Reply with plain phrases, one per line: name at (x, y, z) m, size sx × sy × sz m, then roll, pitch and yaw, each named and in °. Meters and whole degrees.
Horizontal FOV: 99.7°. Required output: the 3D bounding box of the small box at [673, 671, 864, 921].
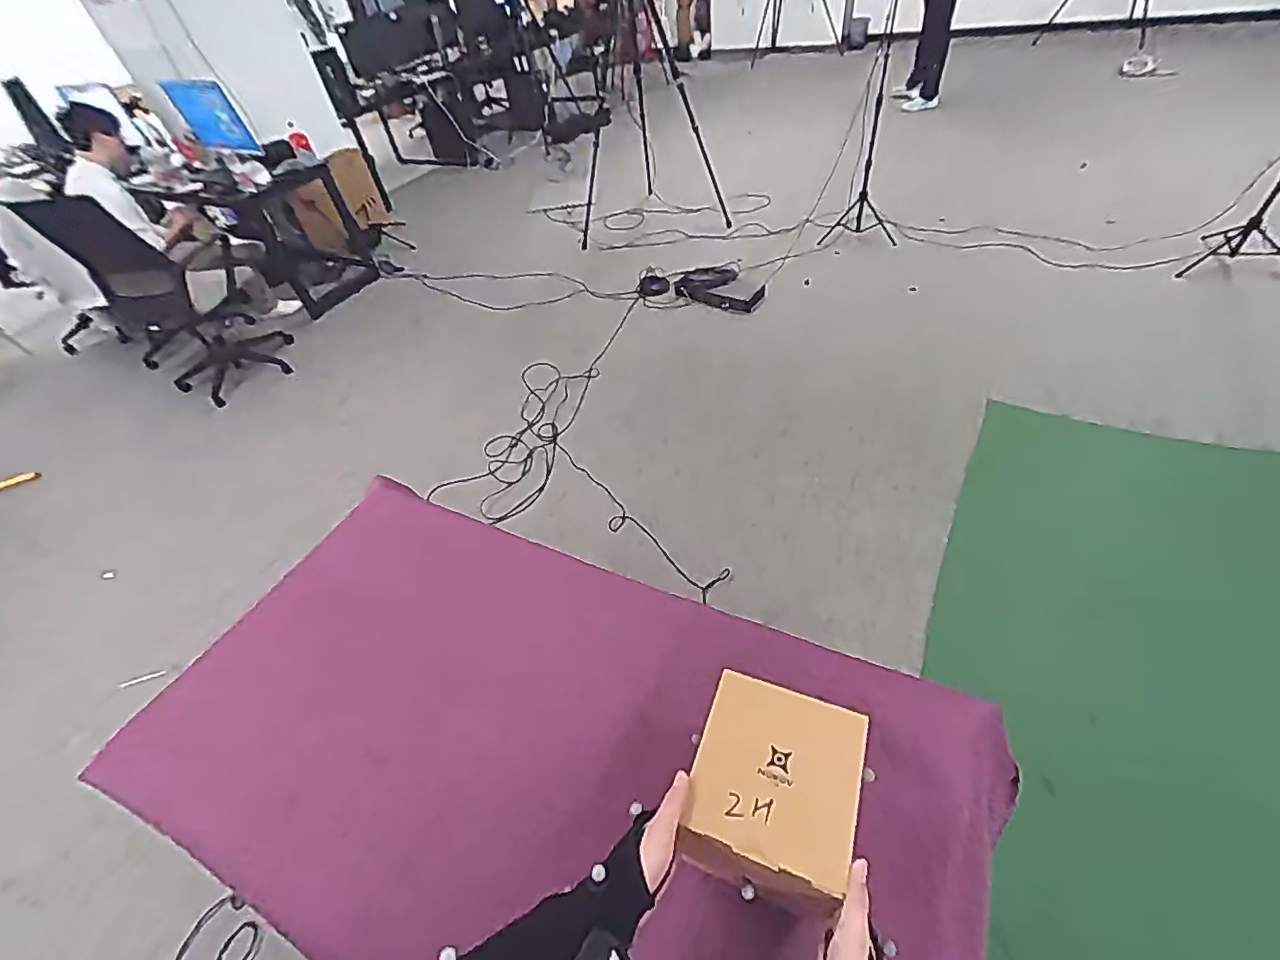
small box at (0.145, 0.360, 0.621) m, size 0.168 × 0.176 × 0.179 m, roll 13°, pitch 48°, yaw 20°
